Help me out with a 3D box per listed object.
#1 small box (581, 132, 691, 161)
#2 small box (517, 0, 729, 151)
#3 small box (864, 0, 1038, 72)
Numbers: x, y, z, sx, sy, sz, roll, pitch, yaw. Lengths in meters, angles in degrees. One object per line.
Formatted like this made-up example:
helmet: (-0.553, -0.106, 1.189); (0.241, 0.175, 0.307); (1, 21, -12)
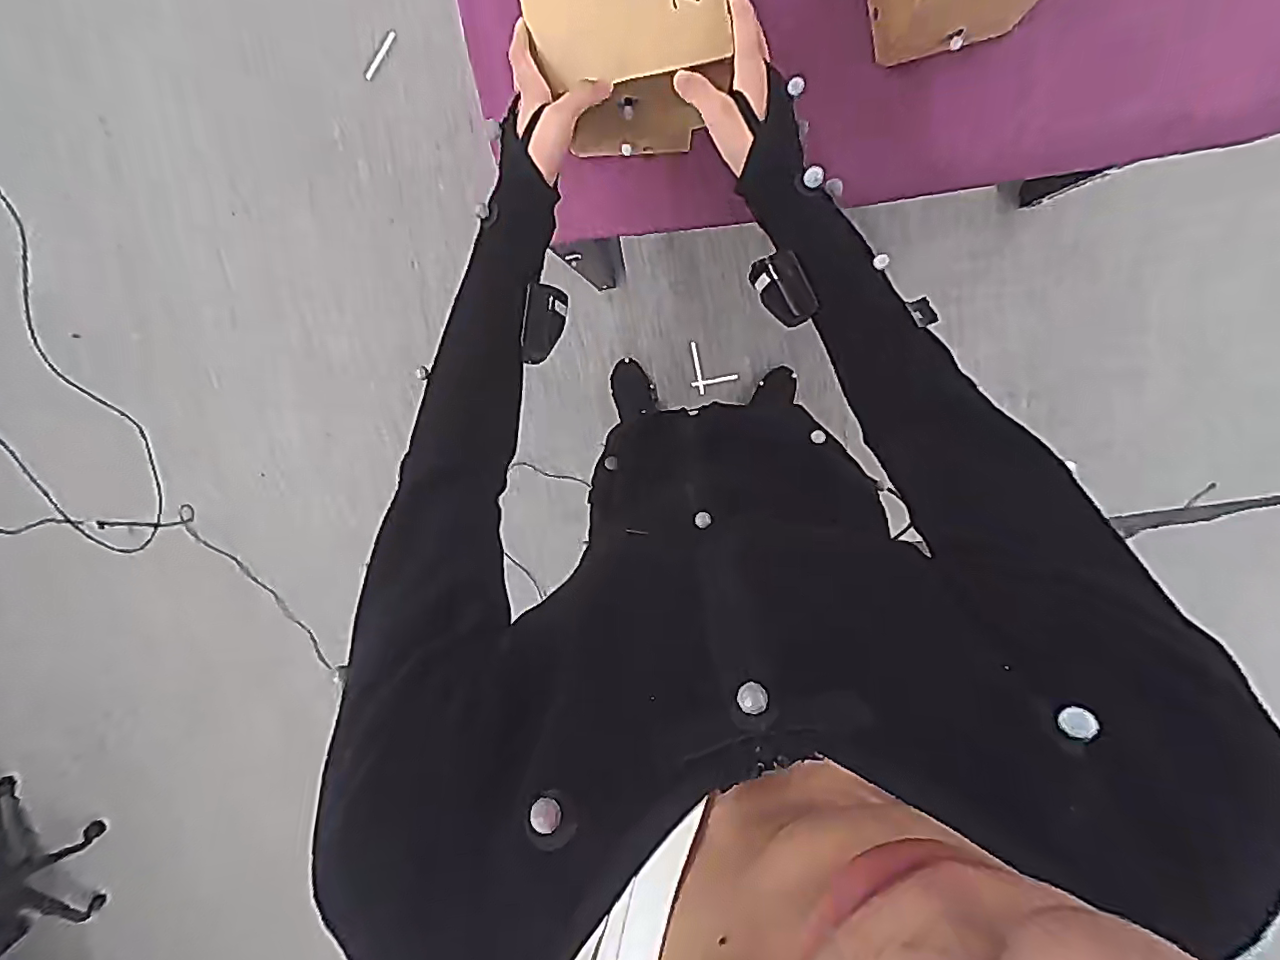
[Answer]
small box: (-0.015, -0.540, 0.701); (0.168, 0.176, 0.179); (0, 103, 4)
small box: (-0.015, -0.443, 0.524); (0.179, 0.176, 0.168); (-8, 107, 6)
small box: (0.388, -0.643, 0.652); (0.179, 0.176, 0.168); (-12, 100, 6)
